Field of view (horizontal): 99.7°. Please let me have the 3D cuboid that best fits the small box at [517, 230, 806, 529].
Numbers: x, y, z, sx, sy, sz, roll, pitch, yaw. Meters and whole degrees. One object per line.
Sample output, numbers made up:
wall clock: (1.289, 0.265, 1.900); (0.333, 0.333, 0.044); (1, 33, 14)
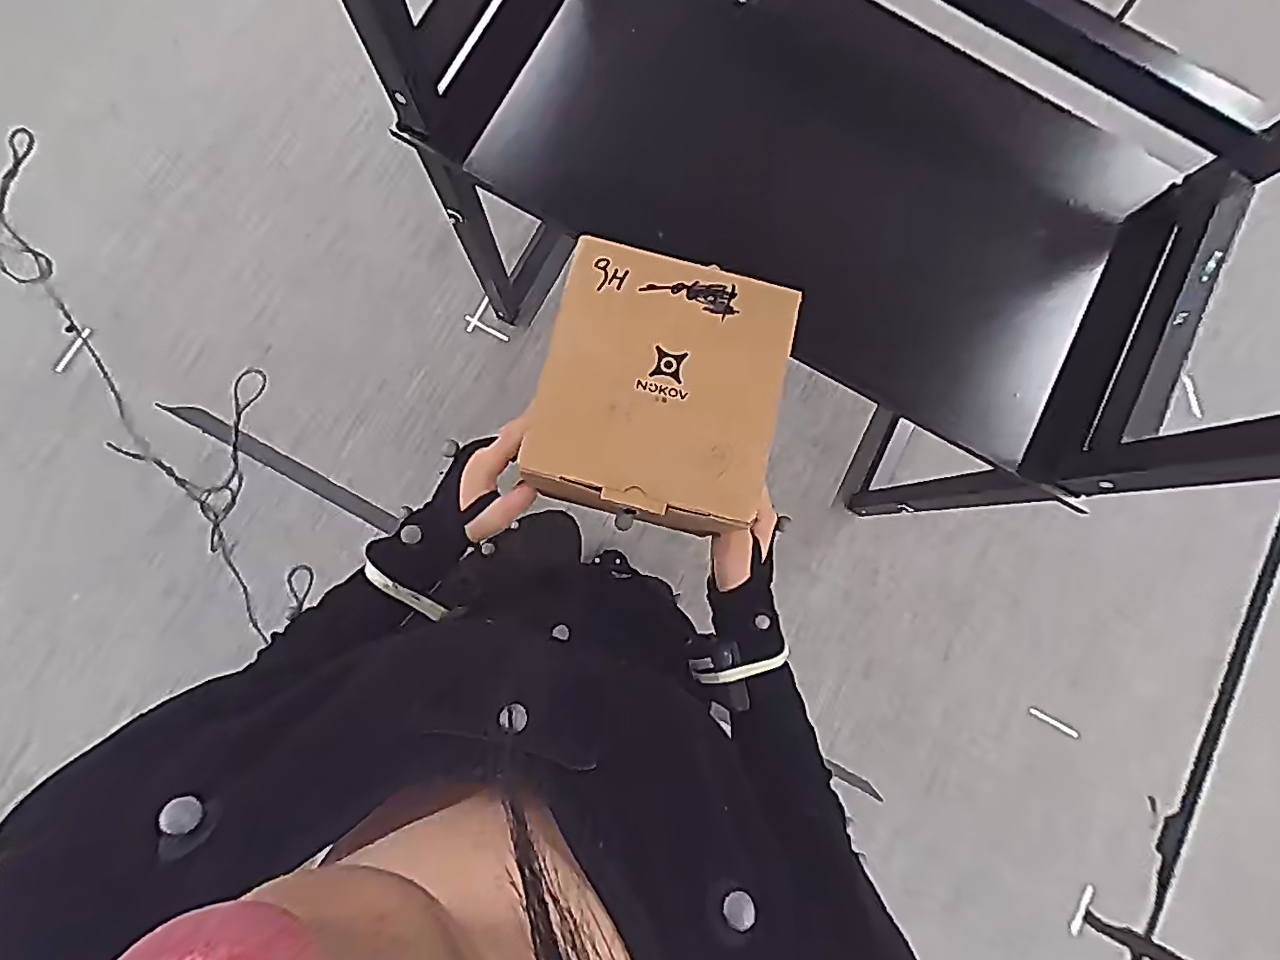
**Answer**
small box: (0.013, -0.061, 0.443); (0.168, 0.176, 0.179); (14, 82, -3)
